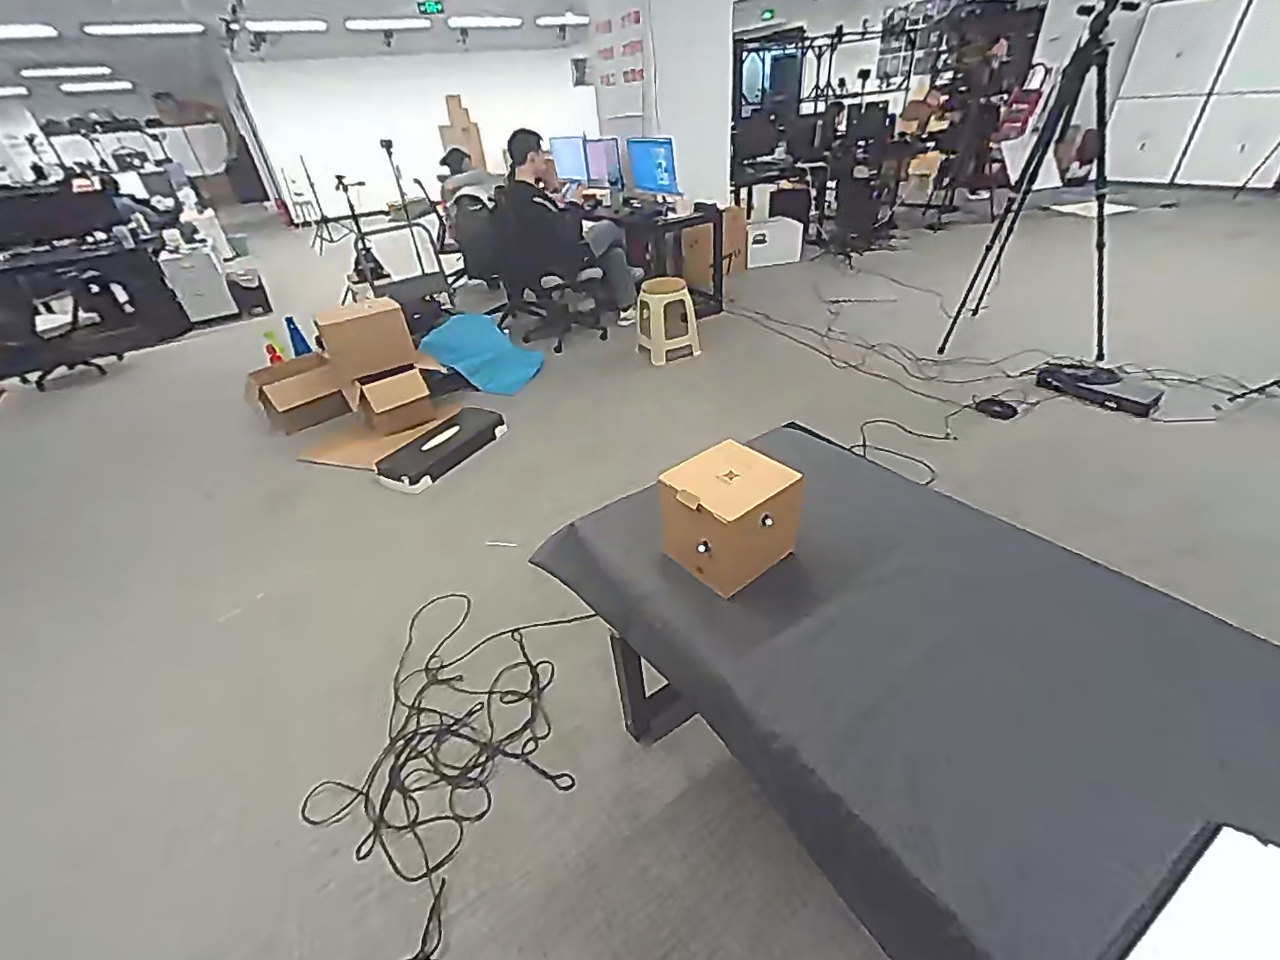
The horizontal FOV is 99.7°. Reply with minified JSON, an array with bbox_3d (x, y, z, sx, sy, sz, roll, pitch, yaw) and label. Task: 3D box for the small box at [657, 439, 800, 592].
[{"bbox_3d":[0.149,0.058,0.926,0.179,0.176,0.168,-26,41,-29],"label":"small box"}]
